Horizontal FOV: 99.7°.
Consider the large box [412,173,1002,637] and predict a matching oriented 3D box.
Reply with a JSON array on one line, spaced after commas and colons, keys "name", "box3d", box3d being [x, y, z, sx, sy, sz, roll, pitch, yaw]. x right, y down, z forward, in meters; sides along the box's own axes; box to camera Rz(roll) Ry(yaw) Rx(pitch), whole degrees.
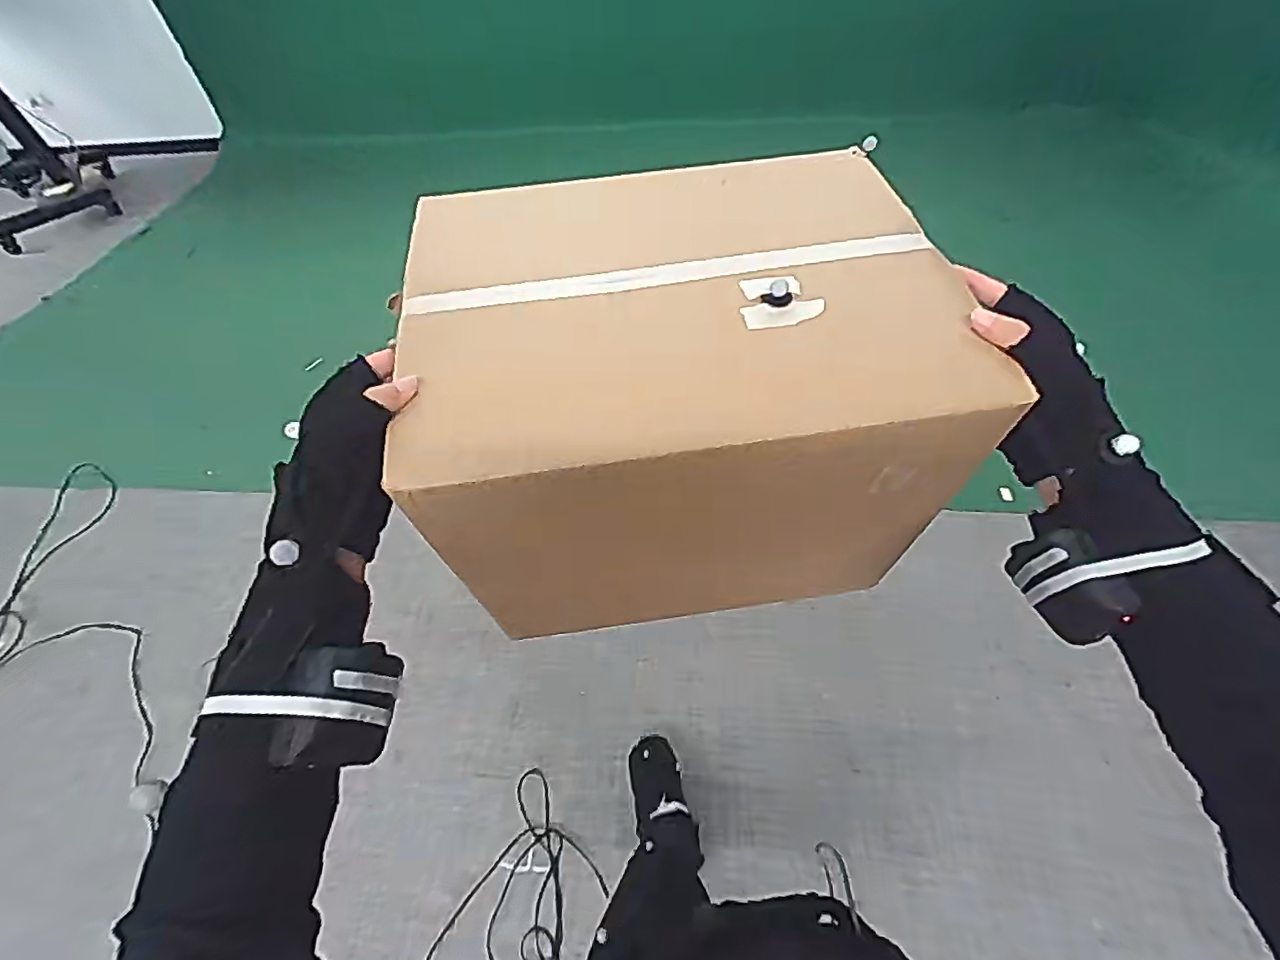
[{"name": "large box", "box3d": [0.030, -0.064, 0.554, 0.408, 0.320, 0.320, -8, 57, -4]}]
